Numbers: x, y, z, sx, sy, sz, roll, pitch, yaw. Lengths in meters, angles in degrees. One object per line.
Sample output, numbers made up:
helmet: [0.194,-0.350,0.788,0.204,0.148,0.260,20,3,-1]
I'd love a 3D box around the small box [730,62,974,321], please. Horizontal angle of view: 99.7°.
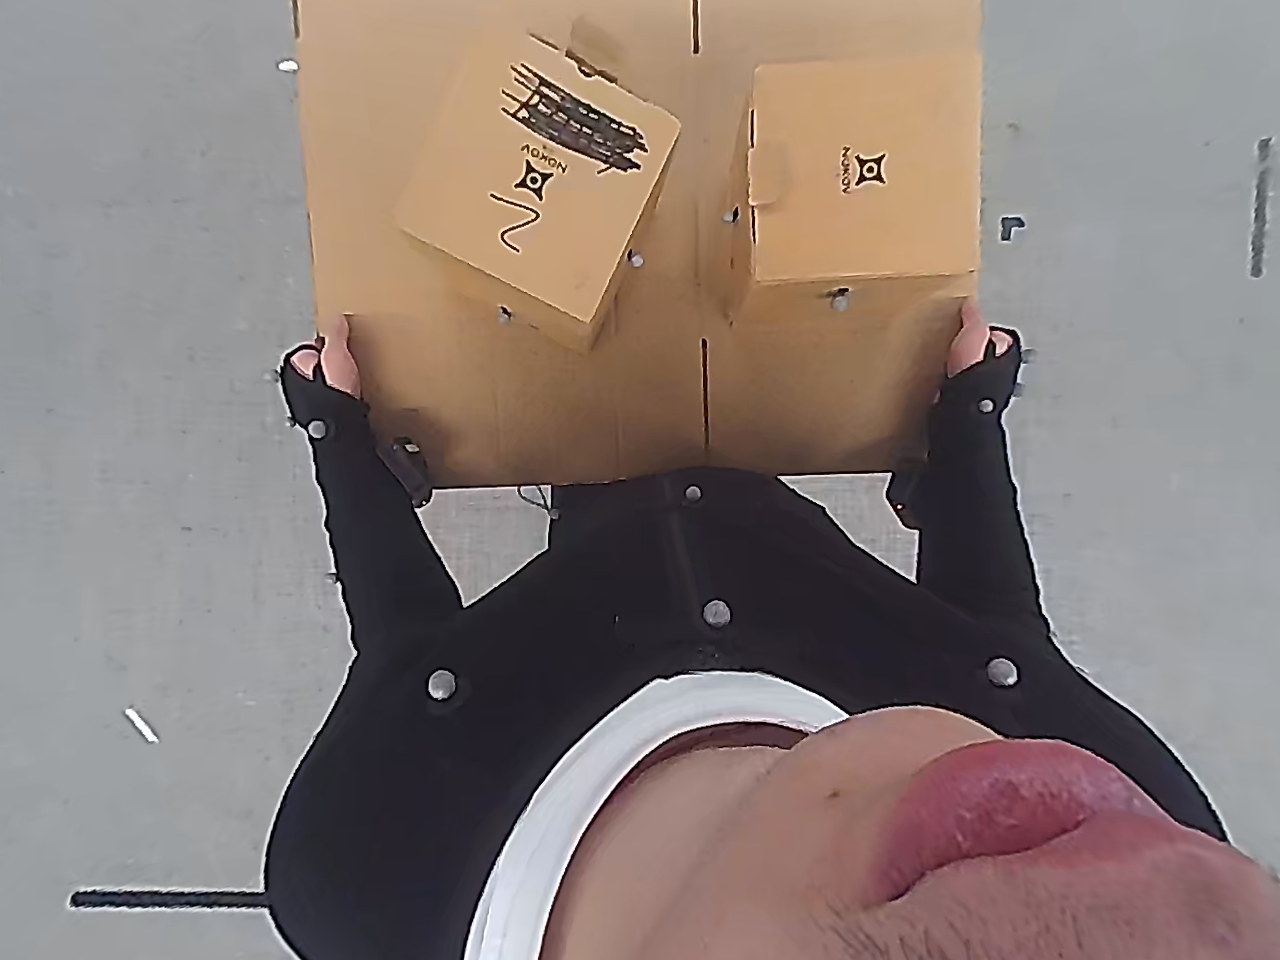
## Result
small box: [0.184,-0.254,0.517,0.179,0.176,0.168,-2,94,4]
